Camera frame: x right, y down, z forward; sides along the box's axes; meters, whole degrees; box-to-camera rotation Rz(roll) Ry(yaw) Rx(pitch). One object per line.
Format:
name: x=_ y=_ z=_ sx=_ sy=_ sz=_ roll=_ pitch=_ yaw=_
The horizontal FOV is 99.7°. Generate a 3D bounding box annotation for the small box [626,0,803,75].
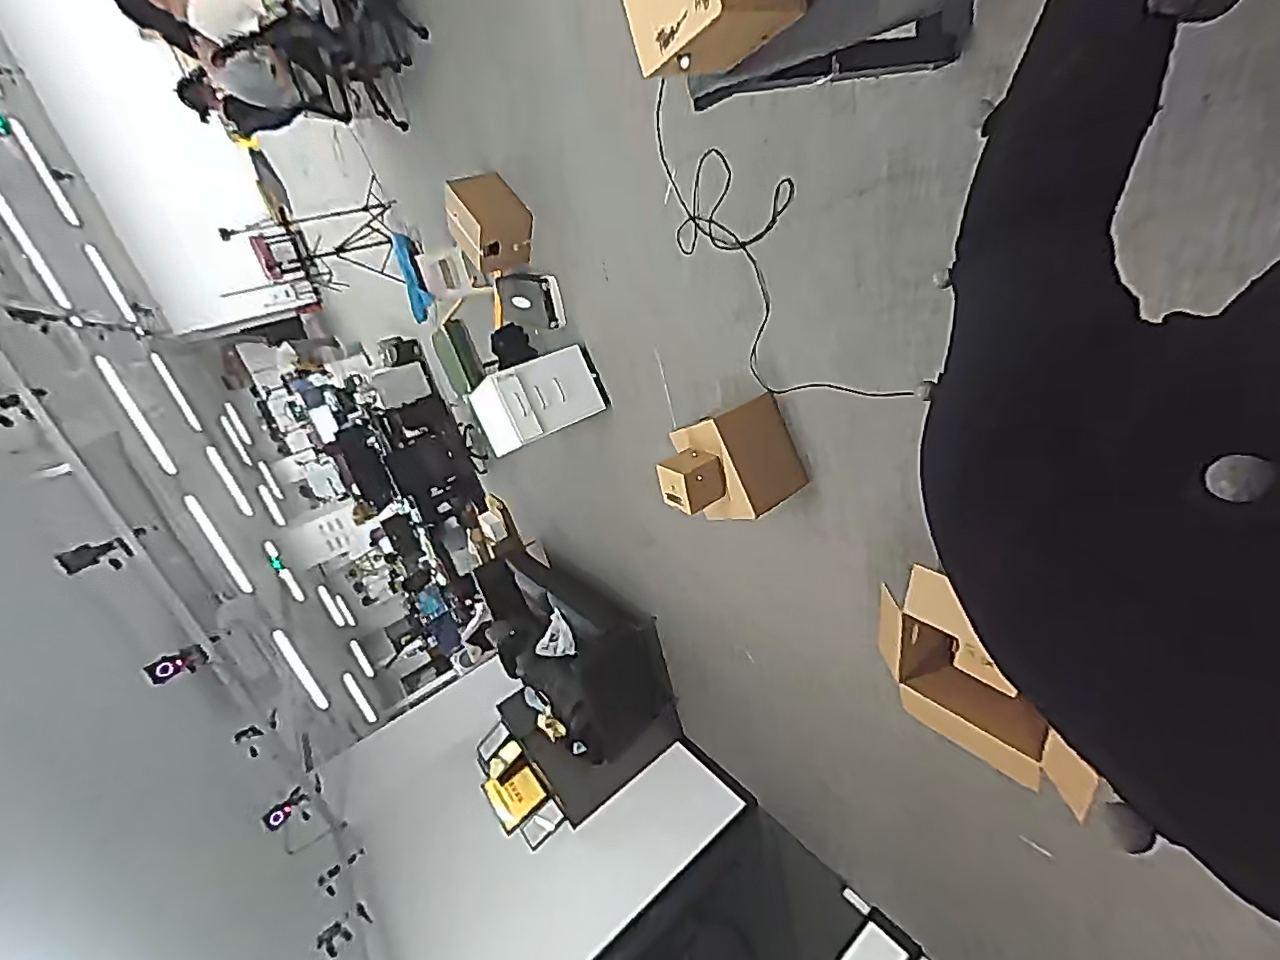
small box: x=0.093 y=-0.683 z=0.727 sx=0.168 sy=0.176 sz=0.179 roll=12 pitch=125 yaw=56
